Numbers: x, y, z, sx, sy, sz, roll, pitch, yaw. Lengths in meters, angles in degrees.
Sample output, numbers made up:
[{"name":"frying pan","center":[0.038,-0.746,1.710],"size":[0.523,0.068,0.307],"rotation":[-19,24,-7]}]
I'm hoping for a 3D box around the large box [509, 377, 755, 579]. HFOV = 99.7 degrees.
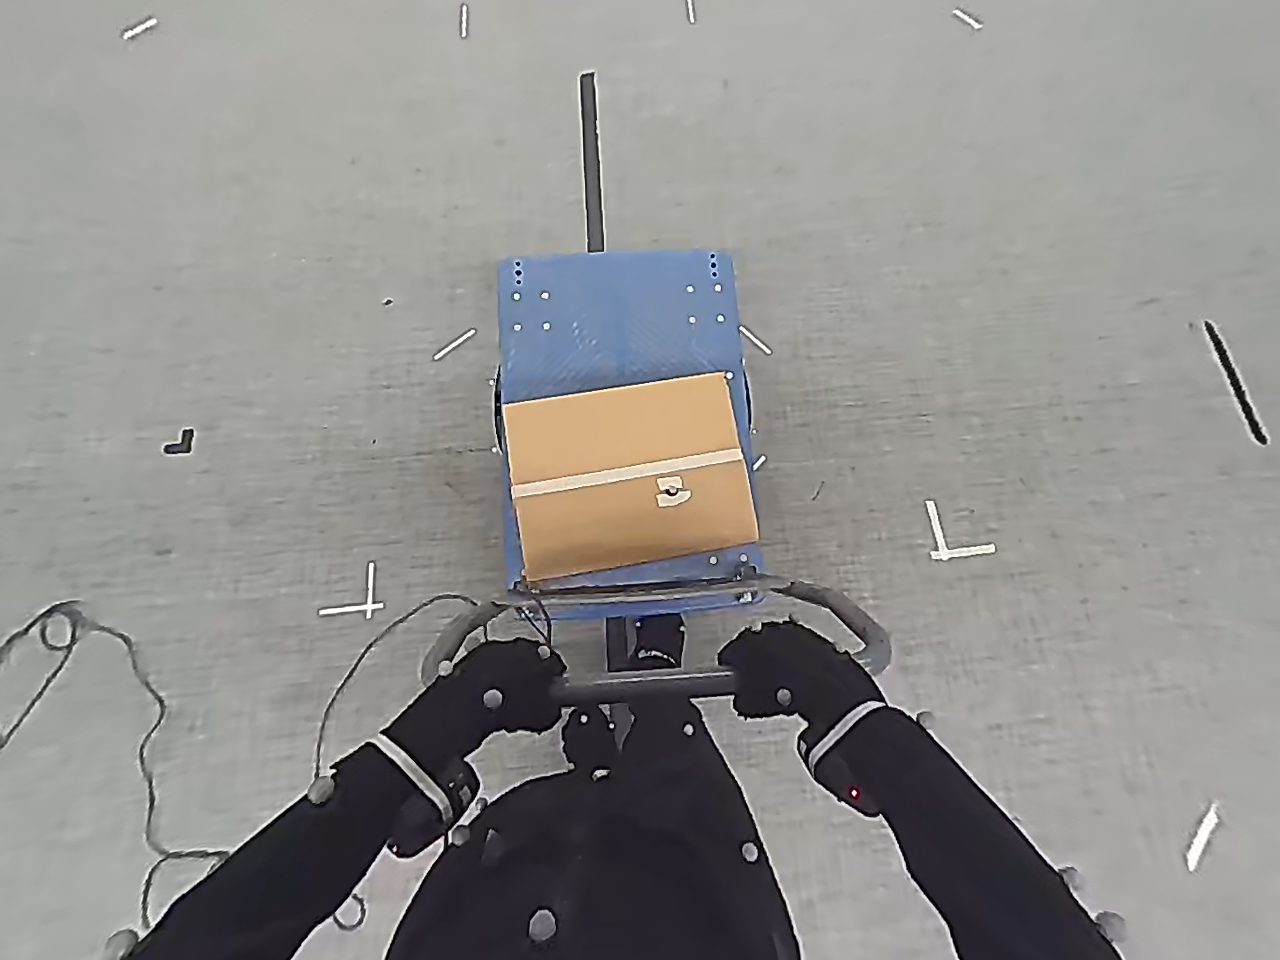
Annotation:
[{"name":"large box","center":[-0.025,0.015,1.108],"size":[0.408,0.320,0.320],"rotation":[-9,81,-5]}]
